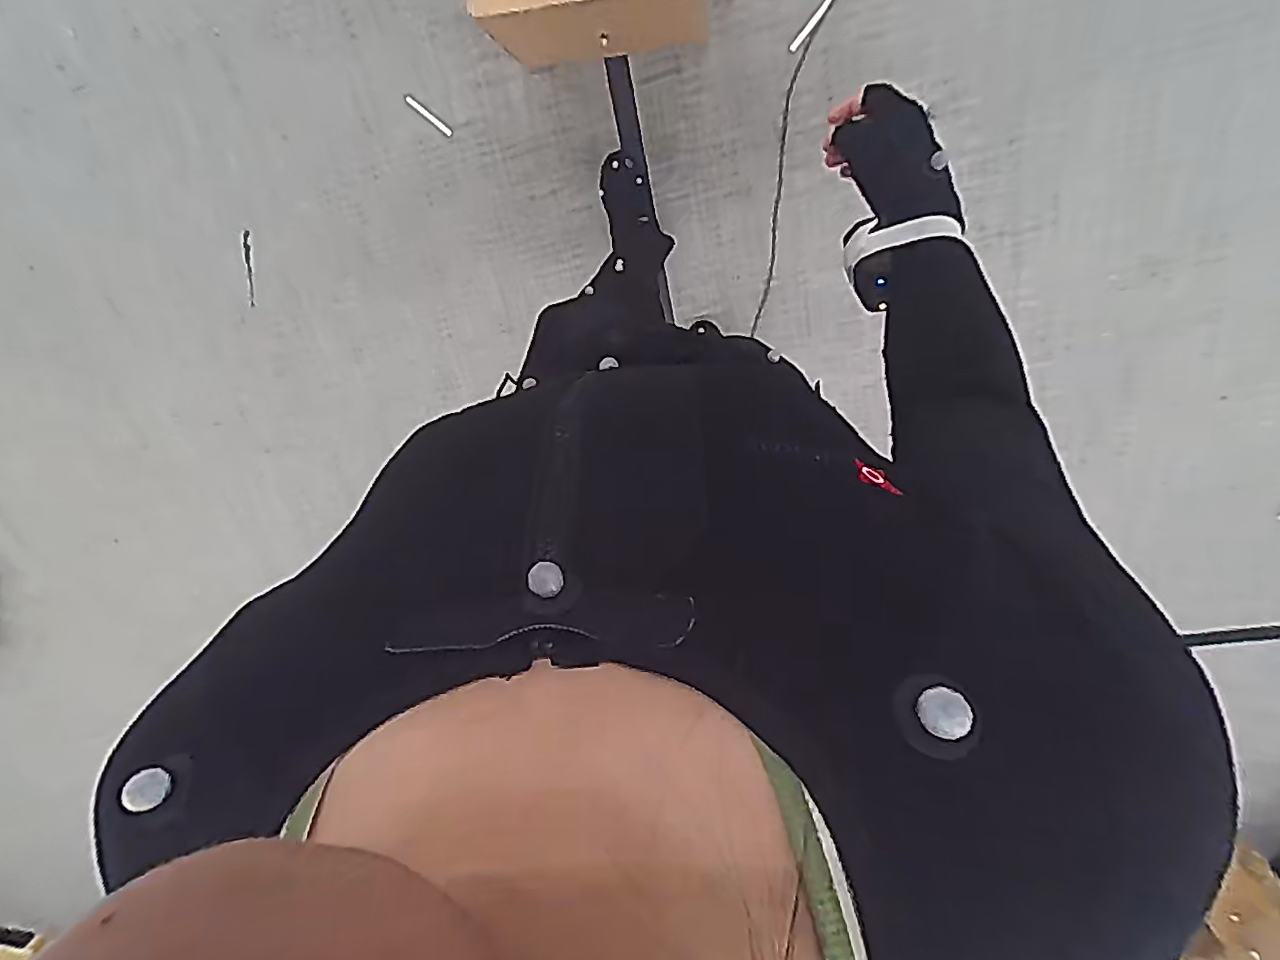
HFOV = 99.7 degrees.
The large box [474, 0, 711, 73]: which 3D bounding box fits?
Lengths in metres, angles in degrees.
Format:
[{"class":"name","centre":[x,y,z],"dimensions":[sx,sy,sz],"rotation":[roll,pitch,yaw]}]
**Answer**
[{"class":"large box","centre":[-0.082,-0.985,0.969],"dimensions":[0.408,0.320,0.320],"rotation":[-2,114,8]}]
